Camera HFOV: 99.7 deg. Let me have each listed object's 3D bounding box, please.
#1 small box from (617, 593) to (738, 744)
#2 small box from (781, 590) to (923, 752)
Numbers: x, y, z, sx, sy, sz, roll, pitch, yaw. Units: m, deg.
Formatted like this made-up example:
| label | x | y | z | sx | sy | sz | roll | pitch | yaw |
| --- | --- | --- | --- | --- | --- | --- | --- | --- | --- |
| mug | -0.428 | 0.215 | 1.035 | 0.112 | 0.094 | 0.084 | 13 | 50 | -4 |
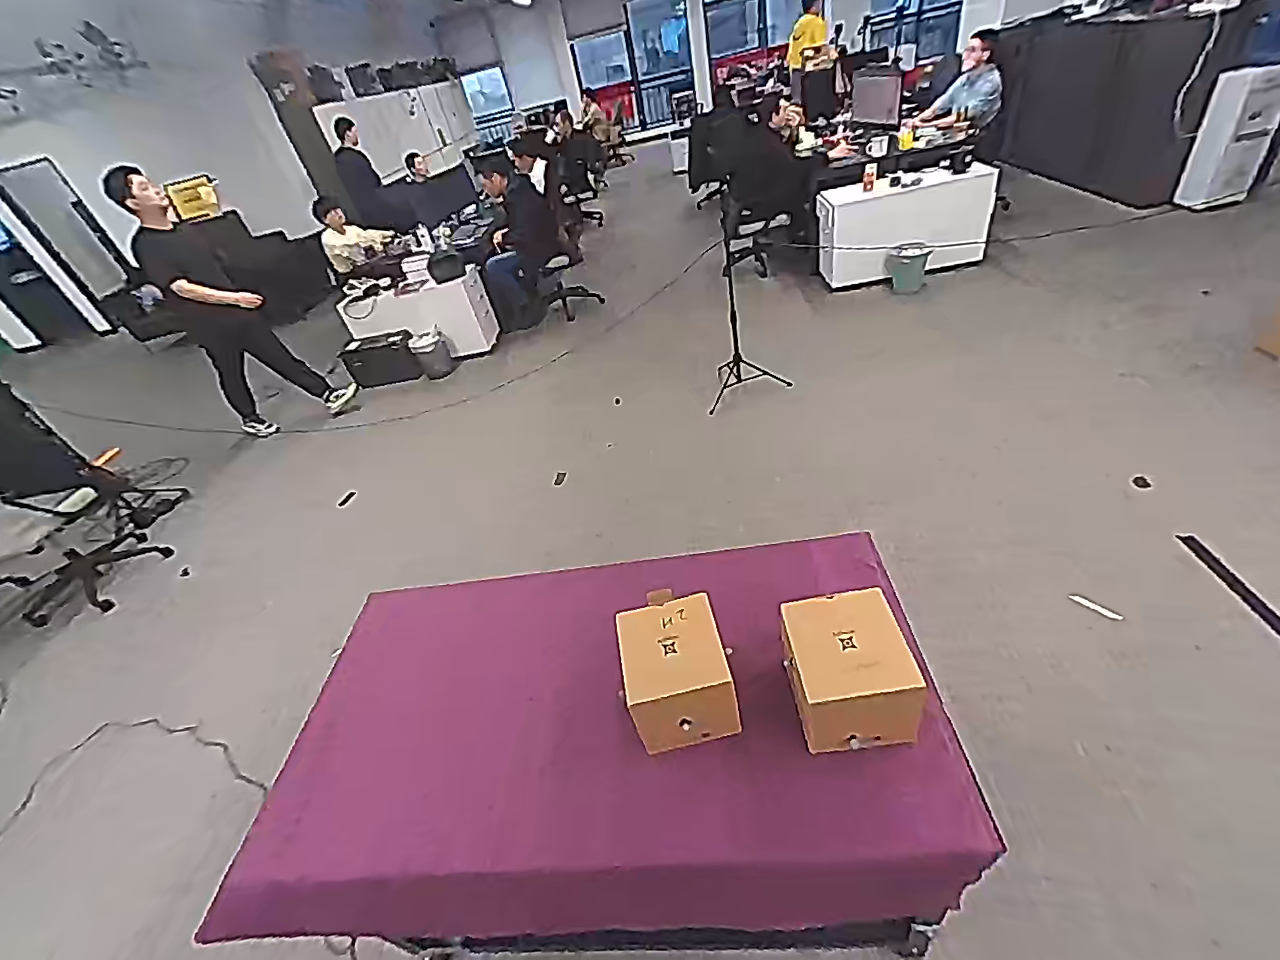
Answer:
| label | x | y | z | sx | sy | sz | roll | pitch | yaw |
| --- | --- | --- | --- | --- | --- | --- | --- | --- | --- |
| small box | 0.065 | 0.330 | 0.932 | 0.168 | 0.176 | 0.179 | -13 | 38 | 1 |
| small box | 0.330 | 0.308 | 0.875 | 0.168 | 0.176 | 0.179 | -11 | 38 | 6 |
